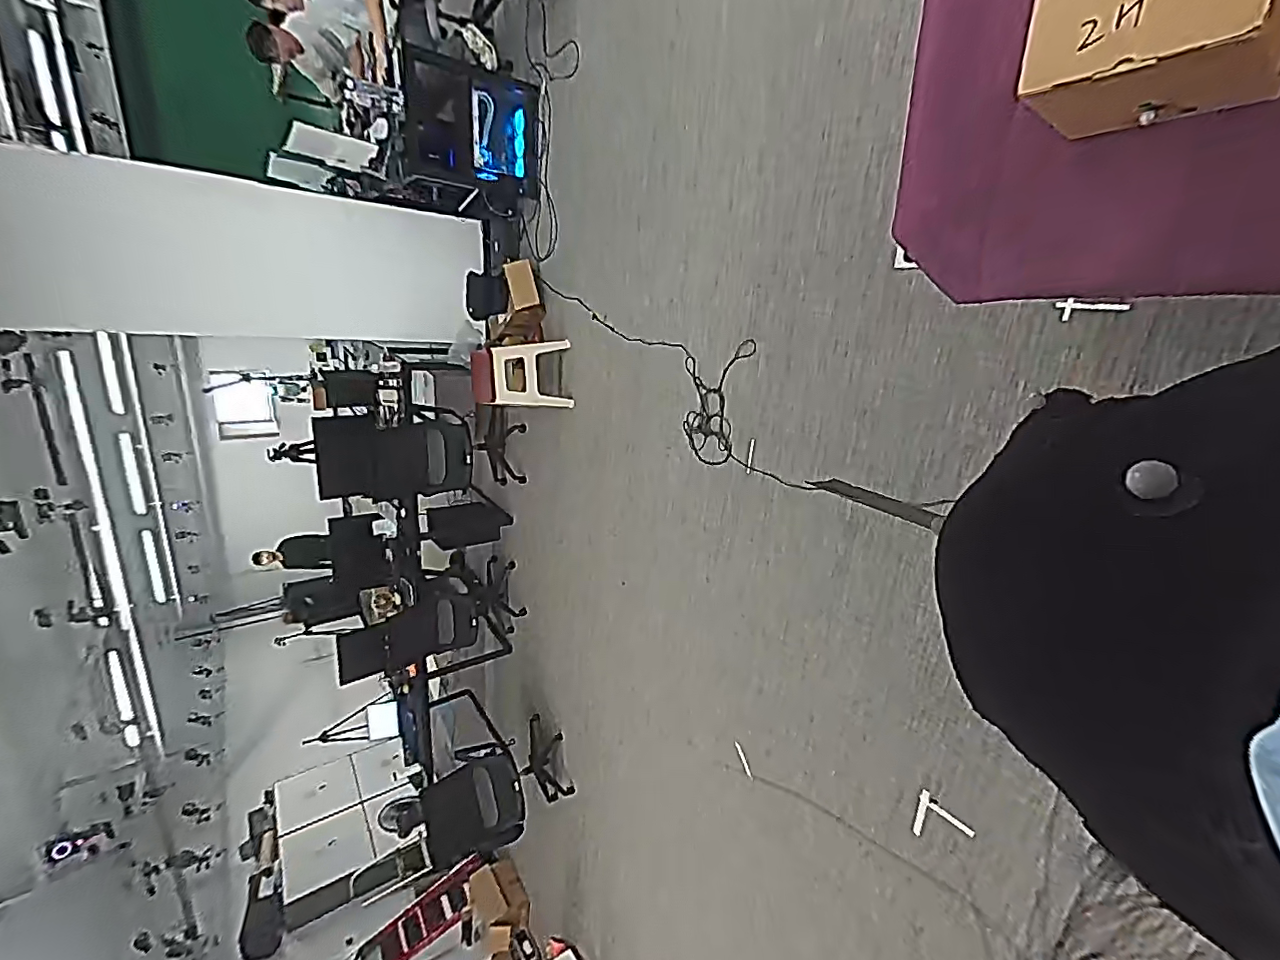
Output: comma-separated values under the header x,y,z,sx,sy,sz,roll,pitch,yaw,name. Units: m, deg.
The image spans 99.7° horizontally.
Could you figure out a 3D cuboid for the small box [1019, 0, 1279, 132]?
x,y,z,sx,sy,sz,roll,pitch,yaw,name
0.481,-0.447,0.484,0.168,0.176,0.179,22,115,50,small box
